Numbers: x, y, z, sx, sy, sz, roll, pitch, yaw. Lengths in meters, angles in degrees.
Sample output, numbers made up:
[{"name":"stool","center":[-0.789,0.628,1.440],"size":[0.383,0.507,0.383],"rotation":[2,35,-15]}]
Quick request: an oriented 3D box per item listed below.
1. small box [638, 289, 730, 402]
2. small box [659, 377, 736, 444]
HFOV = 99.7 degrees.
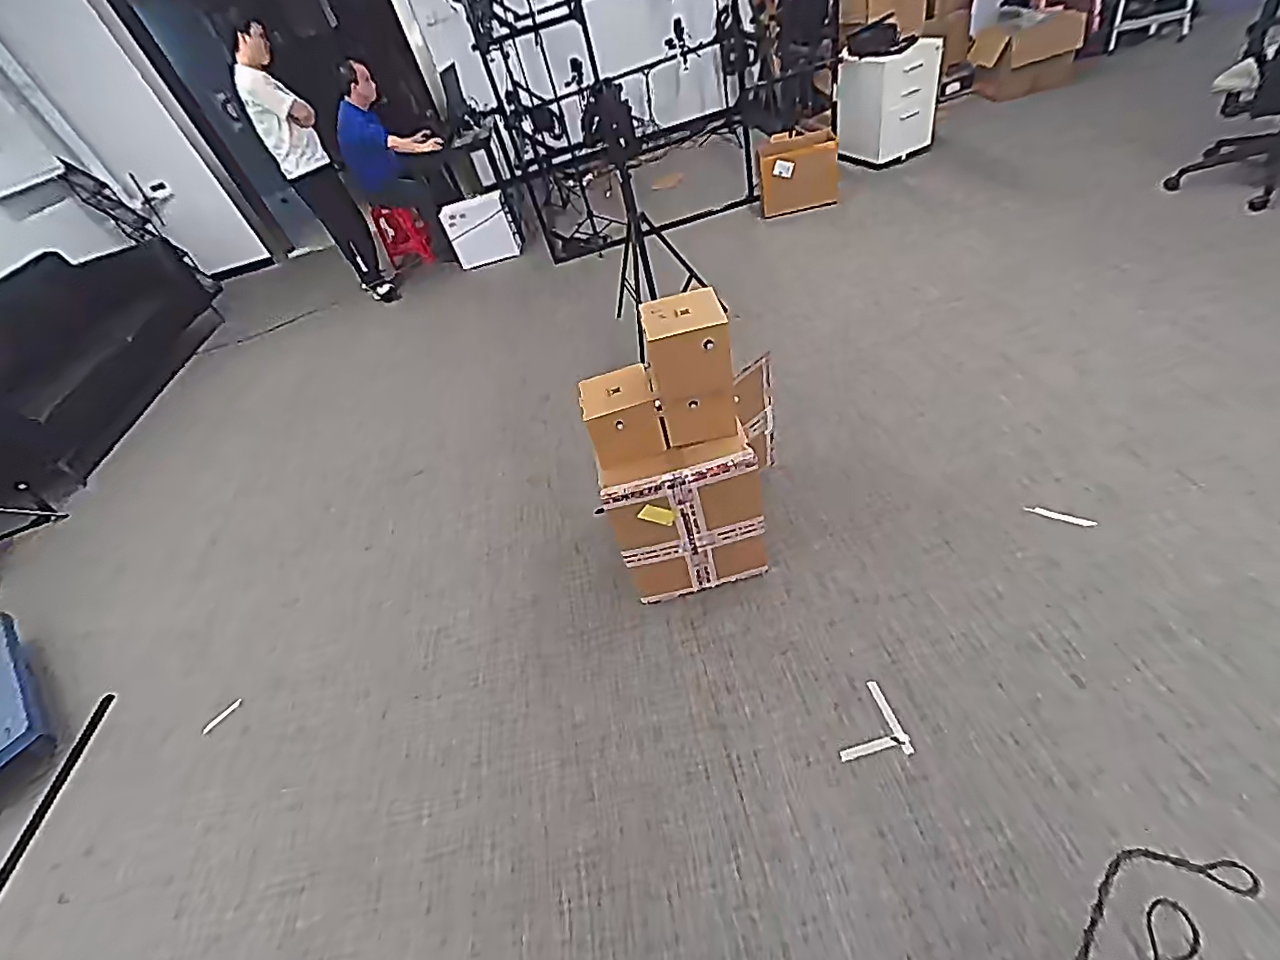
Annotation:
[{"name":"small box","center":[0.102,-0.303,1.229],"size":[0.179,0.176,0.168],"rotation":[-13,45,4]},{"name":"small box","center":[0.138,-0.209,1.362],"size":[0.179,0.176,0.168],"rotation":[-11,45,6]}]
